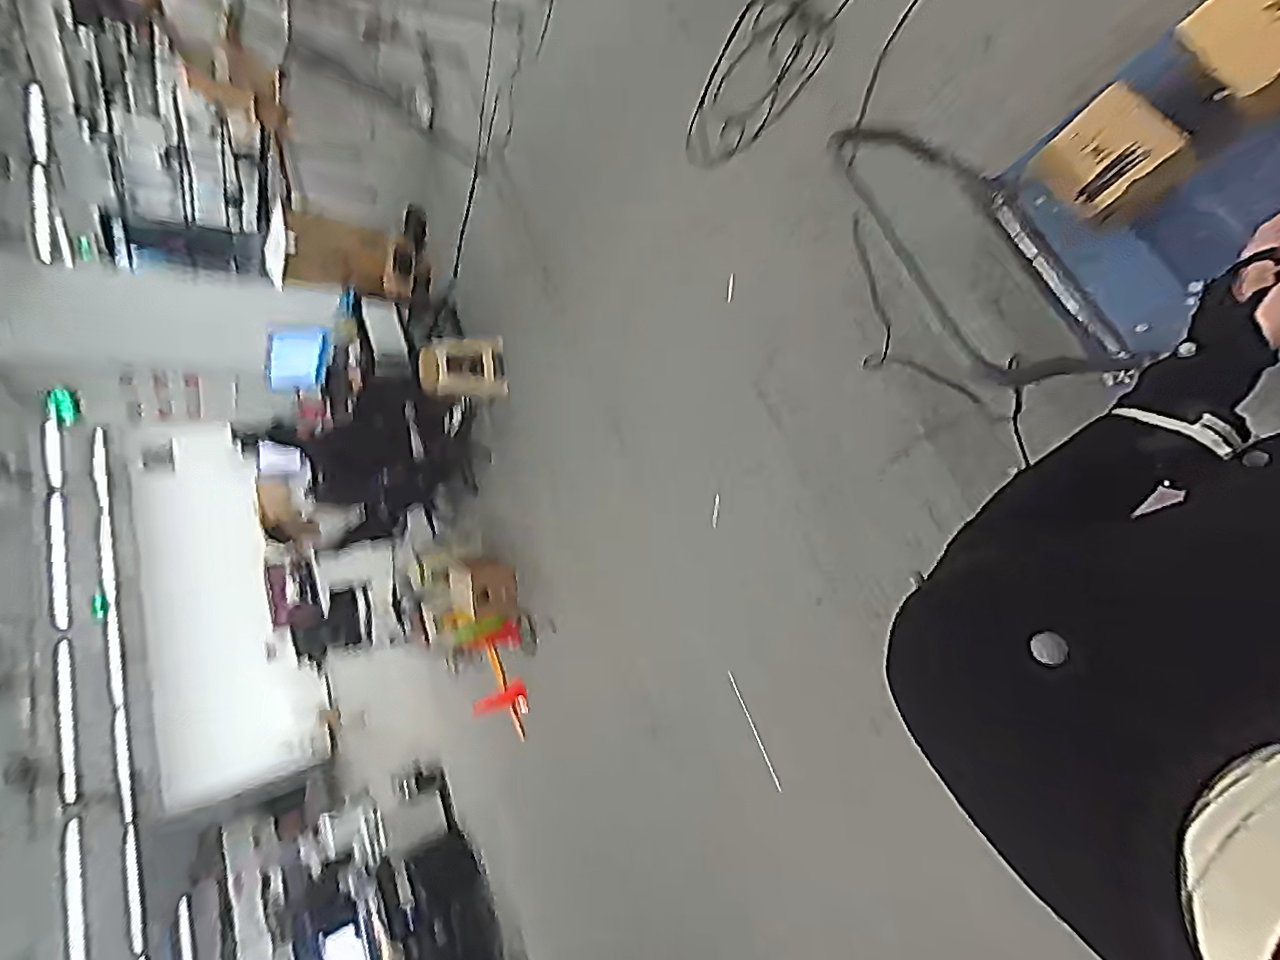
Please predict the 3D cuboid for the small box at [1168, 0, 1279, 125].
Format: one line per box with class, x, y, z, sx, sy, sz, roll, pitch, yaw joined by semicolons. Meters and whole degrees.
small box;1.024;-0.728;0.885;0.168;0.176;0.179;-41;67;45
